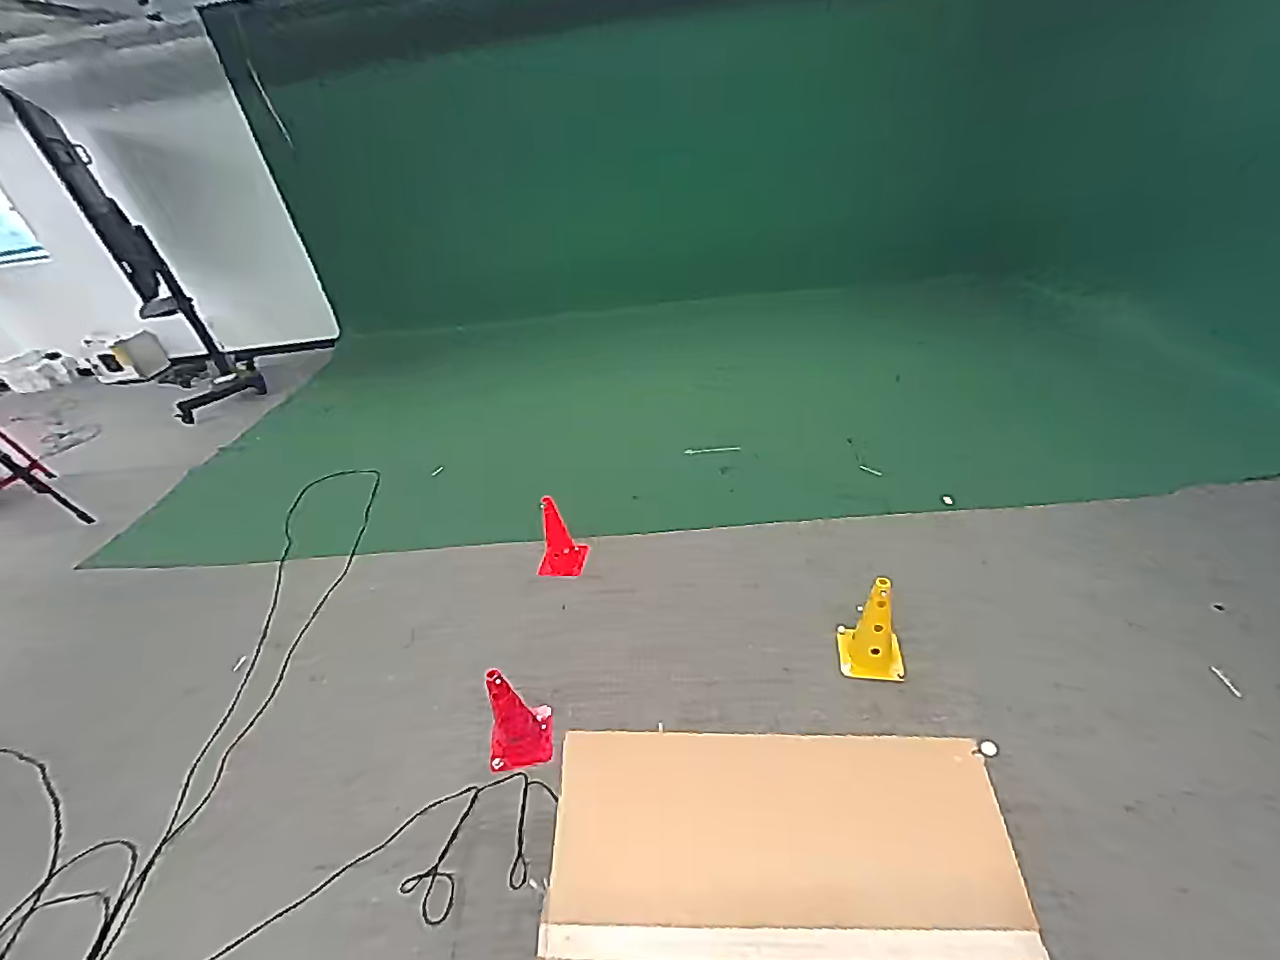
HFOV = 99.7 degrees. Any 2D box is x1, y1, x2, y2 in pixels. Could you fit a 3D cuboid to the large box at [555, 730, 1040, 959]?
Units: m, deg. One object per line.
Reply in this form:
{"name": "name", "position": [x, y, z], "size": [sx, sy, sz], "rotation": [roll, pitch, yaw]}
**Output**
{"name": "large box", "position": [0.124, 0.465, 0.569], "size": [0.408, 0.320, 0.320], "rotation": [1, 54, -1]}

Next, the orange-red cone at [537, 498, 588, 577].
{"name": "orange-red cone", "position": [-0.374, 0.228, 2.347], "size": [0.199, 0.360, 0.198], "rotation": [-2, 35, 12]}
